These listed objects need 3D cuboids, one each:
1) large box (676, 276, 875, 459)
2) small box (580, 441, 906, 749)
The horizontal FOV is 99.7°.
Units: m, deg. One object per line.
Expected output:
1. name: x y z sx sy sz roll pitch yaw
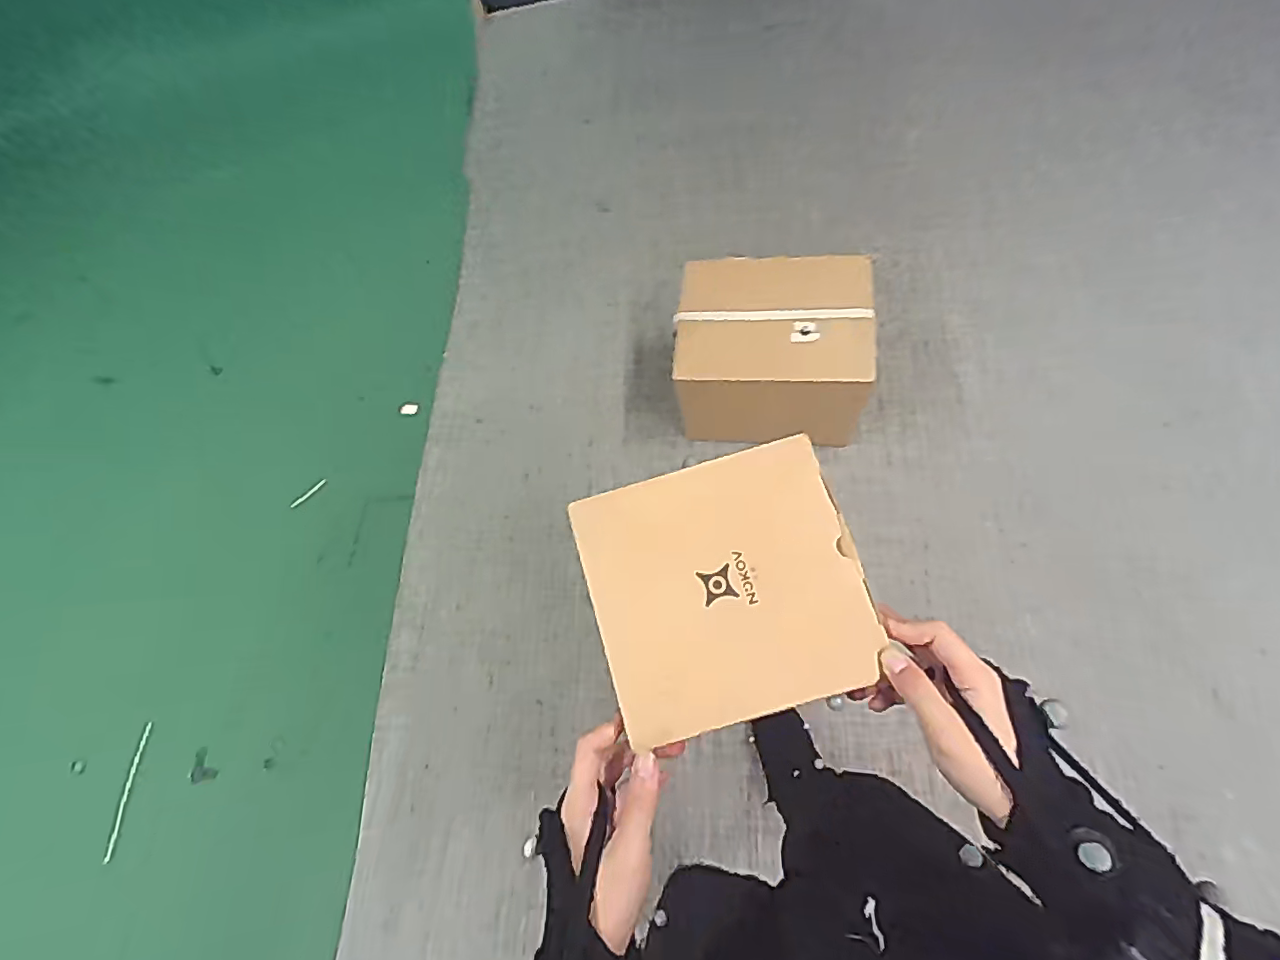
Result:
1. large box: 0.305 -0.254 1.288 0.408 0.320 0.320 3 69 11
2. small box: 0.066 0.092 0.427 0.179 0.176 0.168 -15 73 -1
